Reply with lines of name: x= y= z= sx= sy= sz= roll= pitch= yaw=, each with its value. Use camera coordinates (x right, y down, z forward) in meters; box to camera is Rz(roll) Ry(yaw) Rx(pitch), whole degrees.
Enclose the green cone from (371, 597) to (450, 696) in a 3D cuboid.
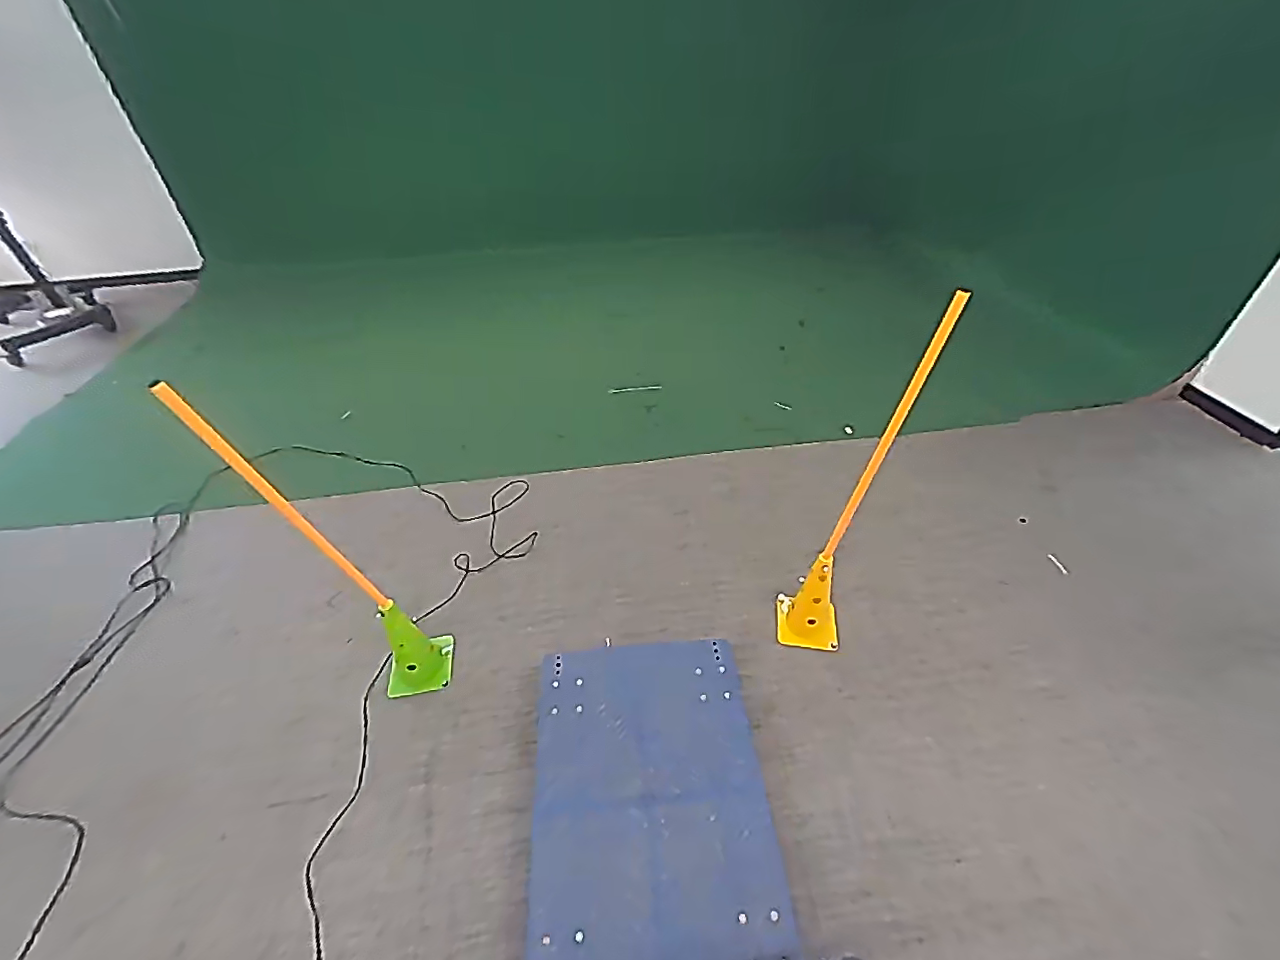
green cone: x=-0.751 y=0.486 z=1.699 sx=0.202 sy=0.368 sz=0.200 roll=-10 pitch=42 yaw=-6
